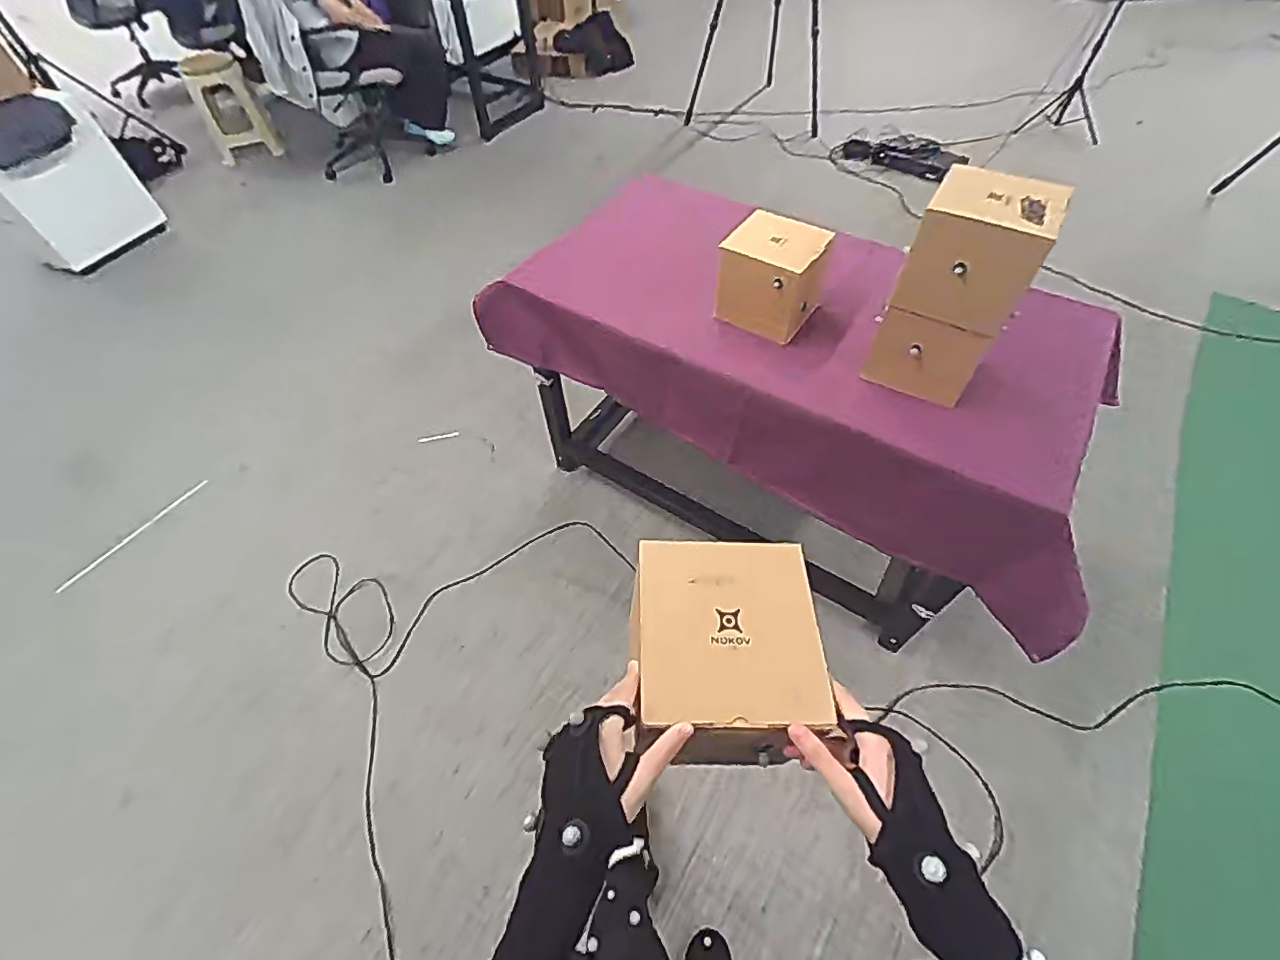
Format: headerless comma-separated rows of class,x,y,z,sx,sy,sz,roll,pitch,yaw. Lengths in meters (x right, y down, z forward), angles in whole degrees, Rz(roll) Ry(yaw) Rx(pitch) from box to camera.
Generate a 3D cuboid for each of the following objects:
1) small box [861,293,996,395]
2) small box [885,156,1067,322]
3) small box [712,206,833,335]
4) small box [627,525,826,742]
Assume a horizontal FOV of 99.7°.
small box,0.532,-0.284,0.996,0.179,0.176,0.168,25,59,19
small box,0.525,-0.378,0.862,0.179,0.176,0.168,26,59,20
small box,0.264,-0.429,1.115,0.179,0.176,0.168,29,60,20
small box,0.073,0.165,0.563,0.168,0.176,0.179,2,53,-3
